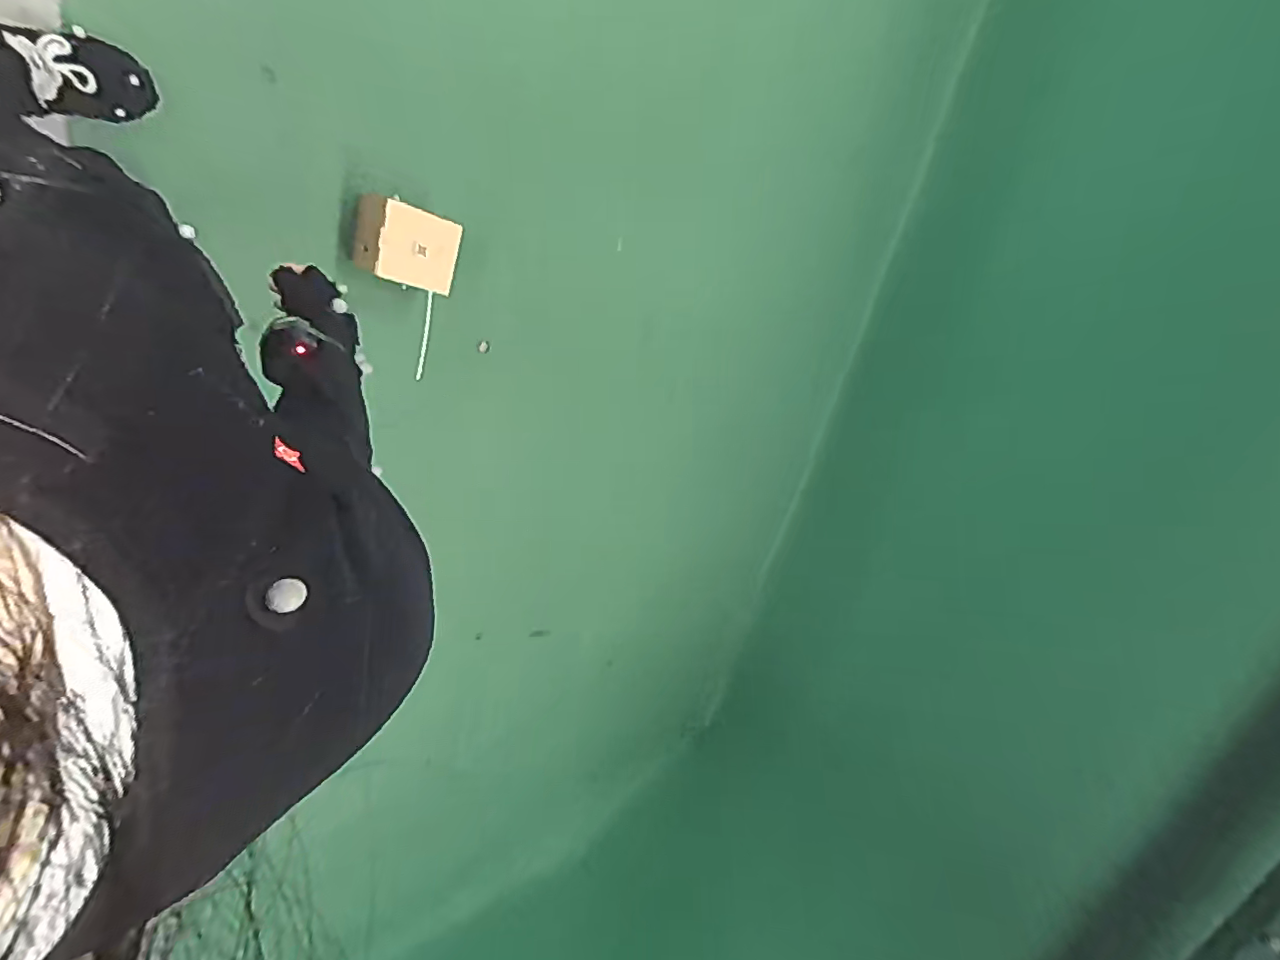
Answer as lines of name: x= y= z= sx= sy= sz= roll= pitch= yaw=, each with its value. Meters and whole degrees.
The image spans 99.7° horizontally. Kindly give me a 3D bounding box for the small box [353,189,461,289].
small box: x=-0.556 y=-0.571 z=1.279 sx=0.179 sy=0.176 sz=0.168 roll=2 pitch=113 yaw=-46
